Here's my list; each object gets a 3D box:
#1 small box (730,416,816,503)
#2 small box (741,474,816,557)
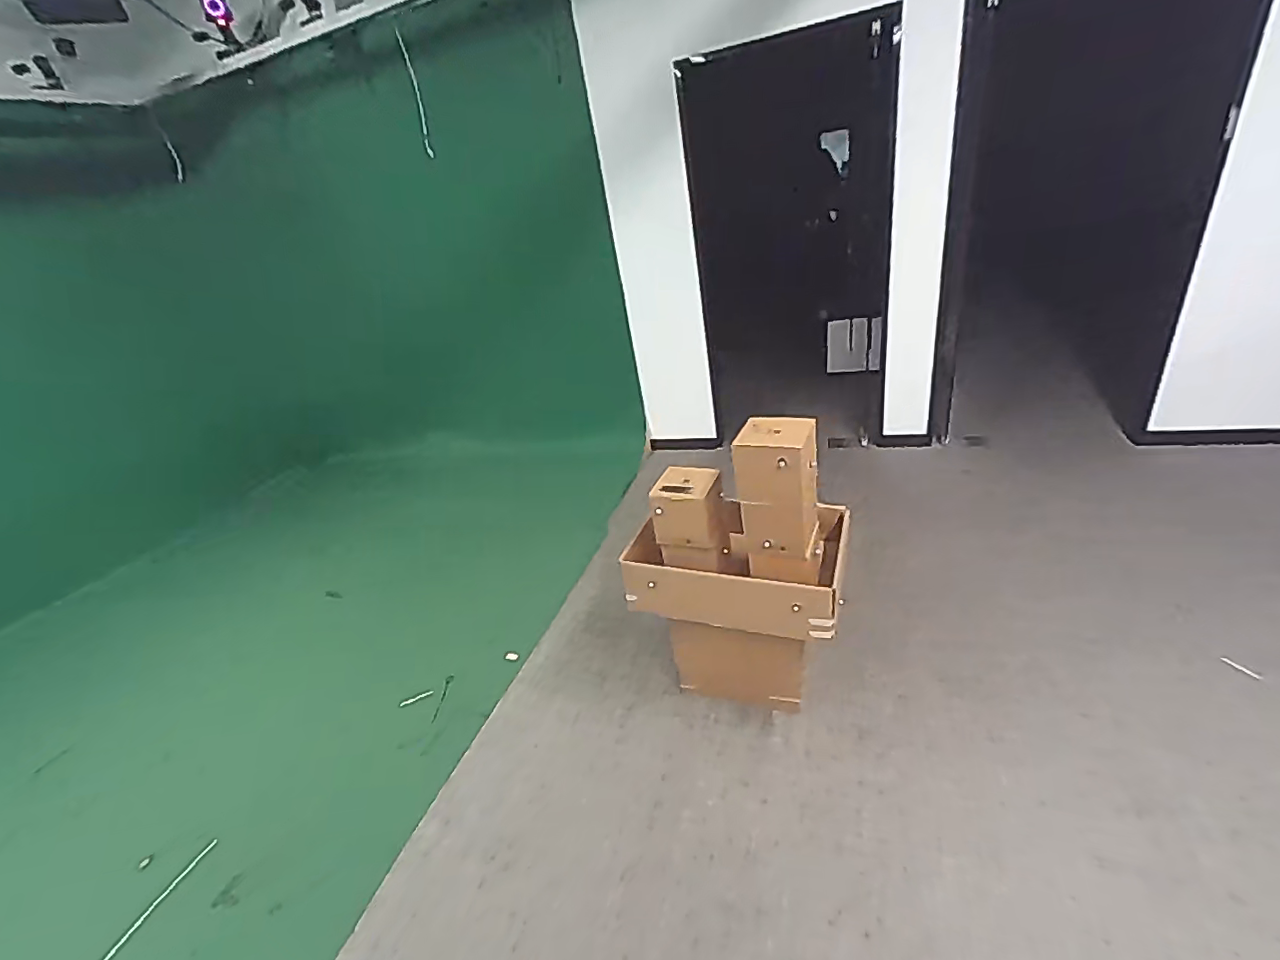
[{"bbox_3d":[0.352,-0.053,1.403,0.179,0.176,0.168,3,32,30],"label":"small box"},{"bbox_3d":[0.386,0.086,1.485,0.168,0.176,0.179,3,33,28],"label":"small box"}]
